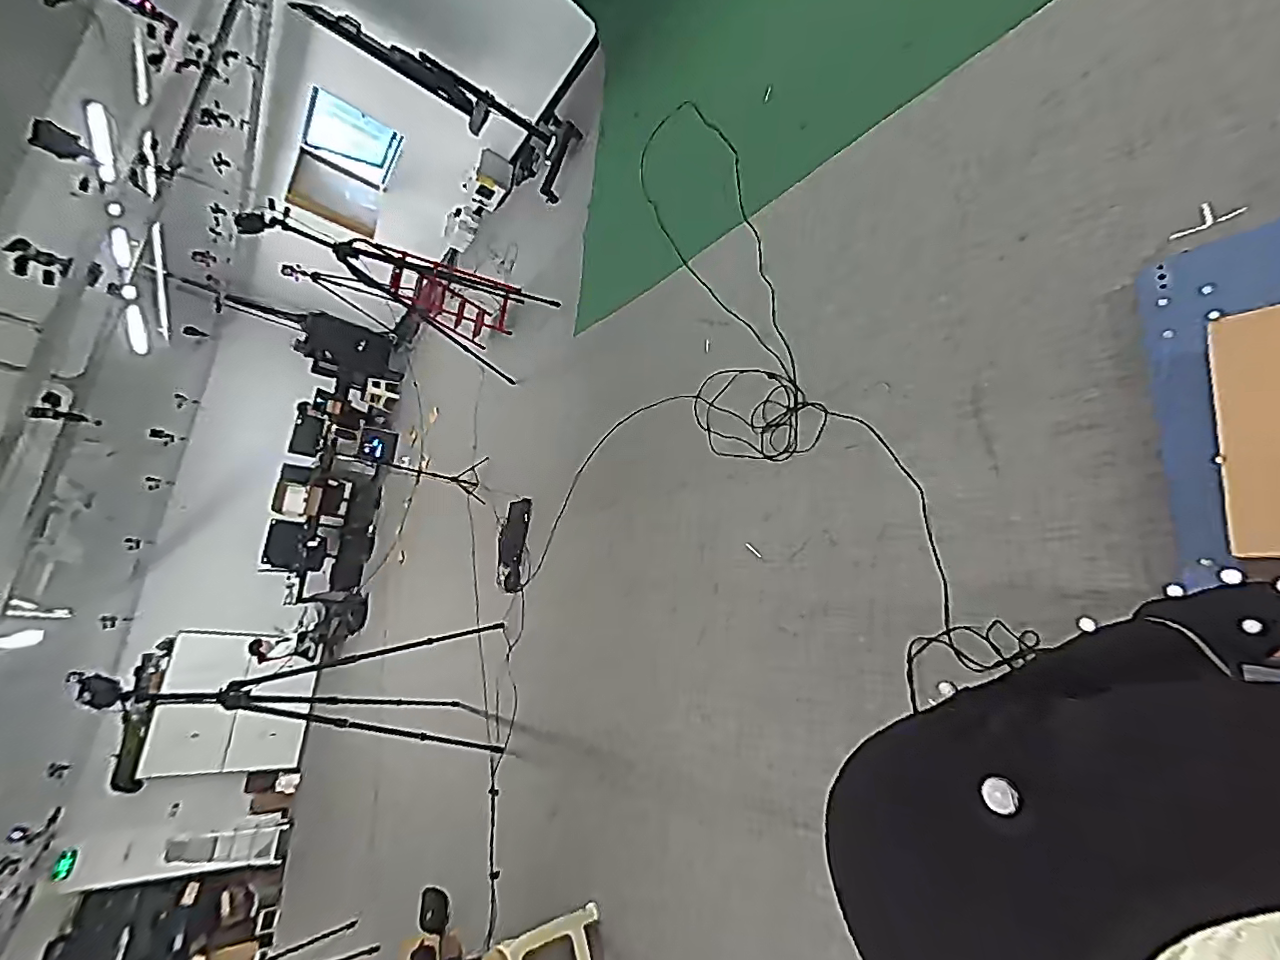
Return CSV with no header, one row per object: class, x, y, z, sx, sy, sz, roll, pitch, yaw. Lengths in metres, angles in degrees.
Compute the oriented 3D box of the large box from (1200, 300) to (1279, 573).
large box,1.154,-0.068,0.854,0.320,0.320,0.408,-9,70,51
